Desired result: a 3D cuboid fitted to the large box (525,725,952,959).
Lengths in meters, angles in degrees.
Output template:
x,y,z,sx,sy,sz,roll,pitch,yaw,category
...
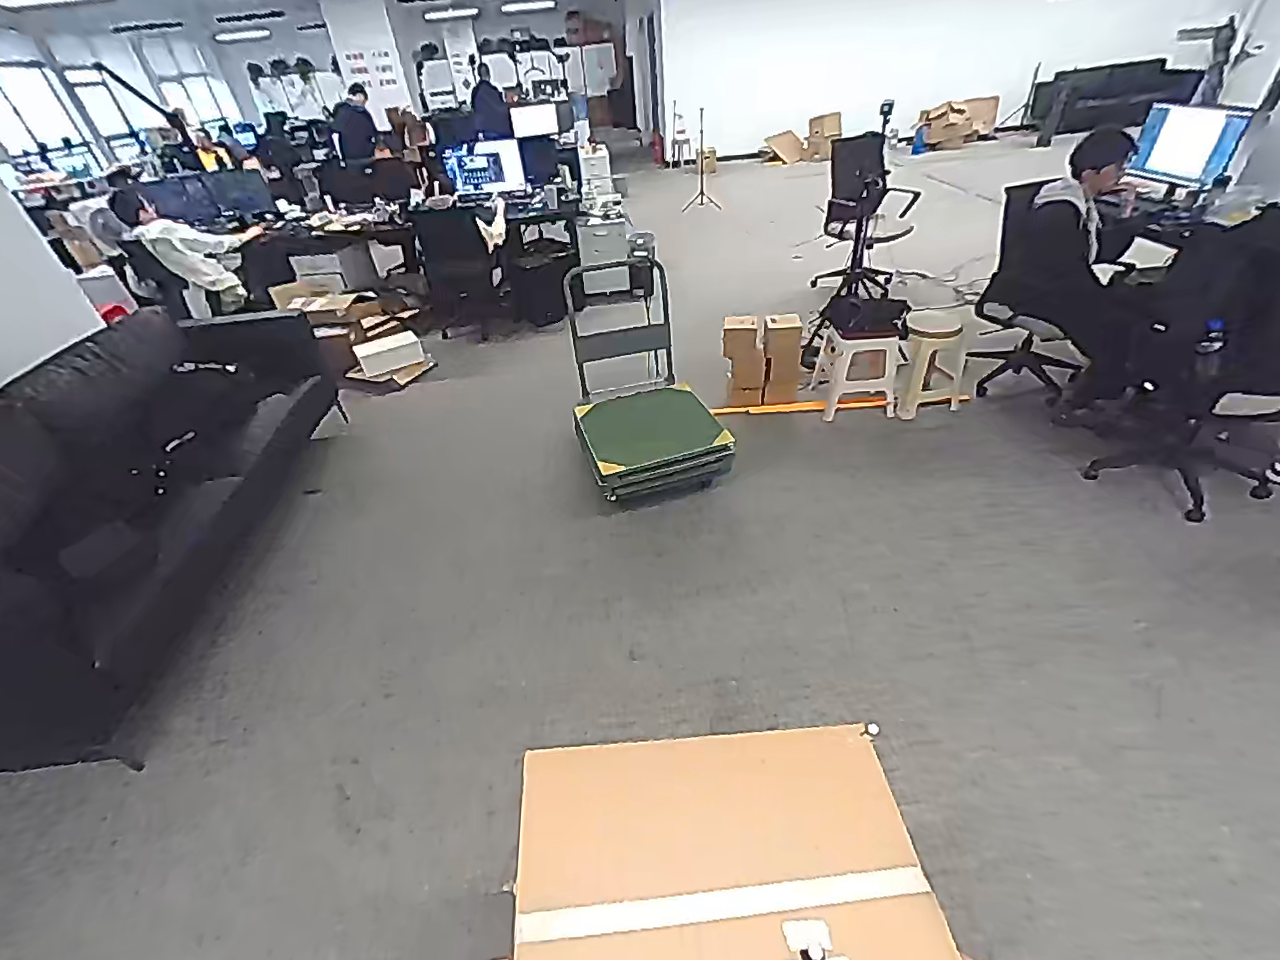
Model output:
x,y,z,sx,sy,sz,roll,pitch,yaw,category
0.078,0.523,0.628,0.408,0.320,0.320,-2,43,-8,large box
